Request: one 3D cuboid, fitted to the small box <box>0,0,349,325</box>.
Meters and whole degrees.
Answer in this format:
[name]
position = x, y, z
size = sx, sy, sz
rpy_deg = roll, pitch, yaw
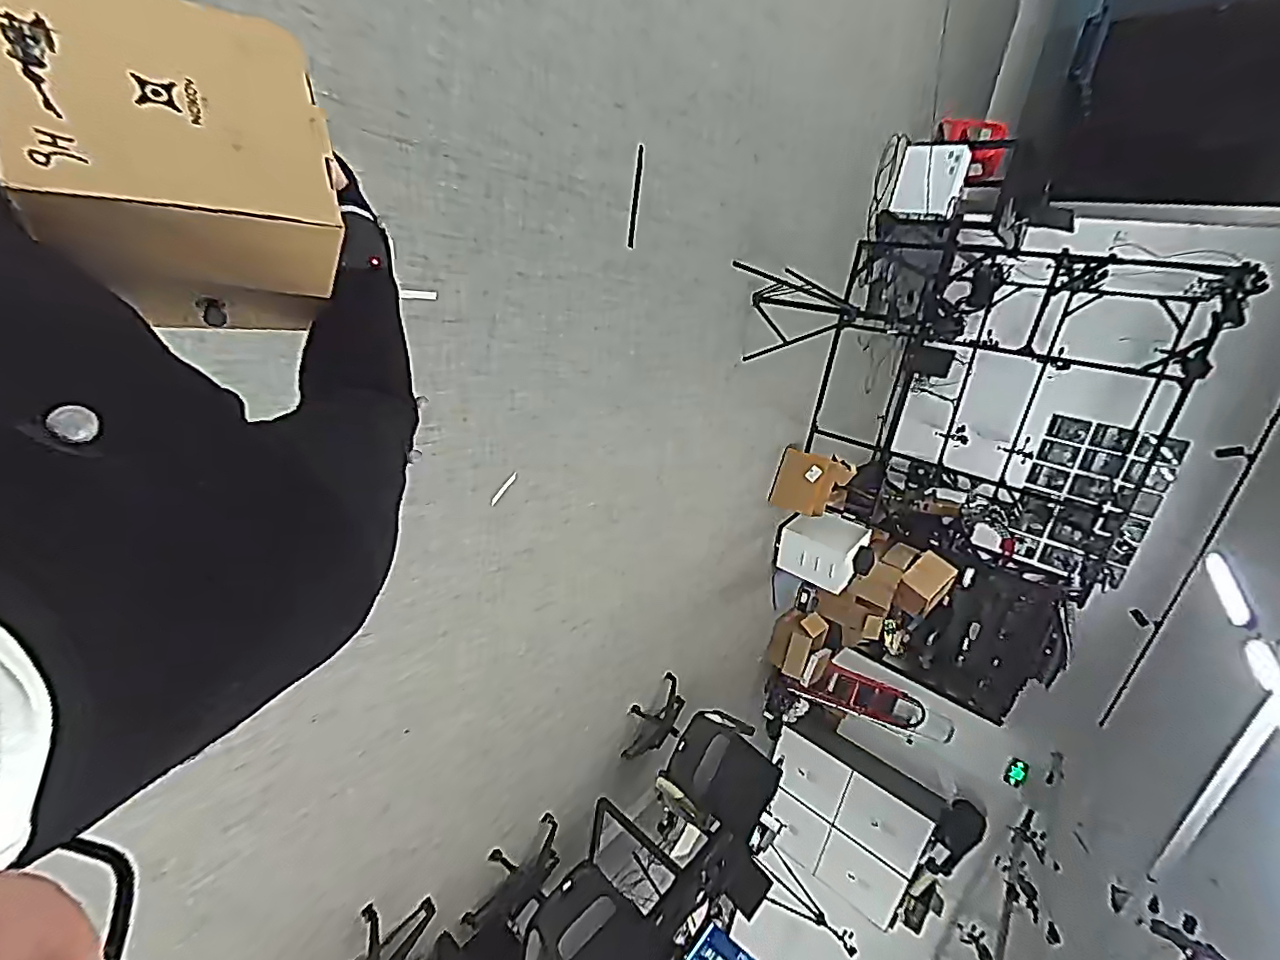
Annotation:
[small box]
position = -0.362, -0.241, 0.442
size = 0.179, 0.176, 0.168
rpy_deg = -11, 82, -37
